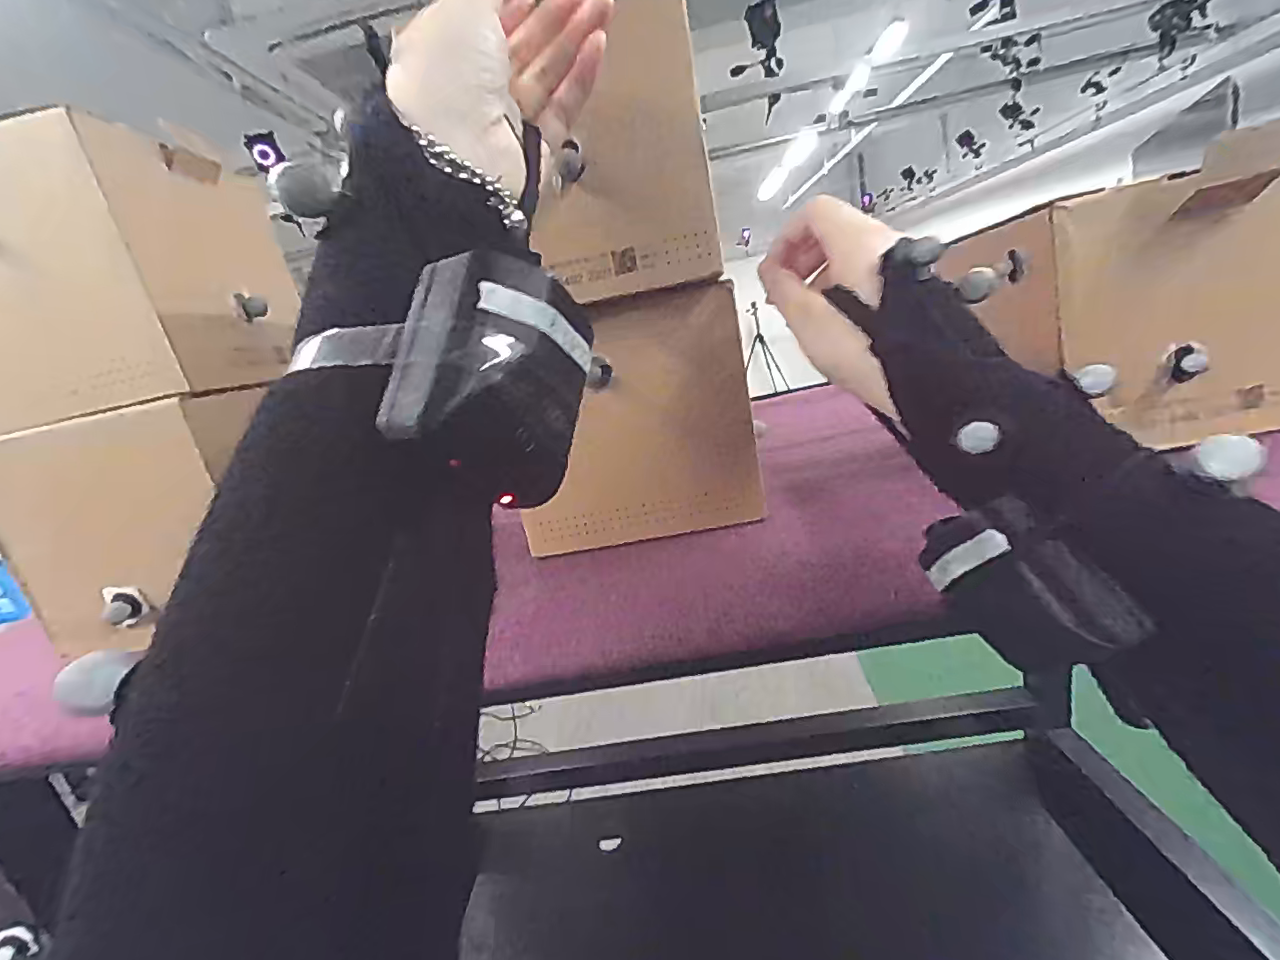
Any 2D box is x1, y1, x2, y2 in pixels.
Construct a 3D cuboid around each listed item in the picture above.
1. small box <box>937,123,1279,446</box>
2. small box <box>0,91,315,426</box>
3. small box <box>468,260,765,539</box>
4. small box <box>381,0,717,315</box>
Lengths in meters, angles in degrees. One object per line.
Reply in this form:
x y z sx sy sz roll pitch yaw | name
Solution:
0.344 -0.129 0.397 0.168 0.176 0.179 -12 13 9 | small box
-0.390 -0.139 0.399 0.179 0.176 0.168 -13 16 1 | small box
-0.008 -0.061 0.440 0.179 0.176 0.168 -10 14 6 | small box
-0.047 -0.213 0.390 0.168 0.176 0.179 -12 14 1 | small box
